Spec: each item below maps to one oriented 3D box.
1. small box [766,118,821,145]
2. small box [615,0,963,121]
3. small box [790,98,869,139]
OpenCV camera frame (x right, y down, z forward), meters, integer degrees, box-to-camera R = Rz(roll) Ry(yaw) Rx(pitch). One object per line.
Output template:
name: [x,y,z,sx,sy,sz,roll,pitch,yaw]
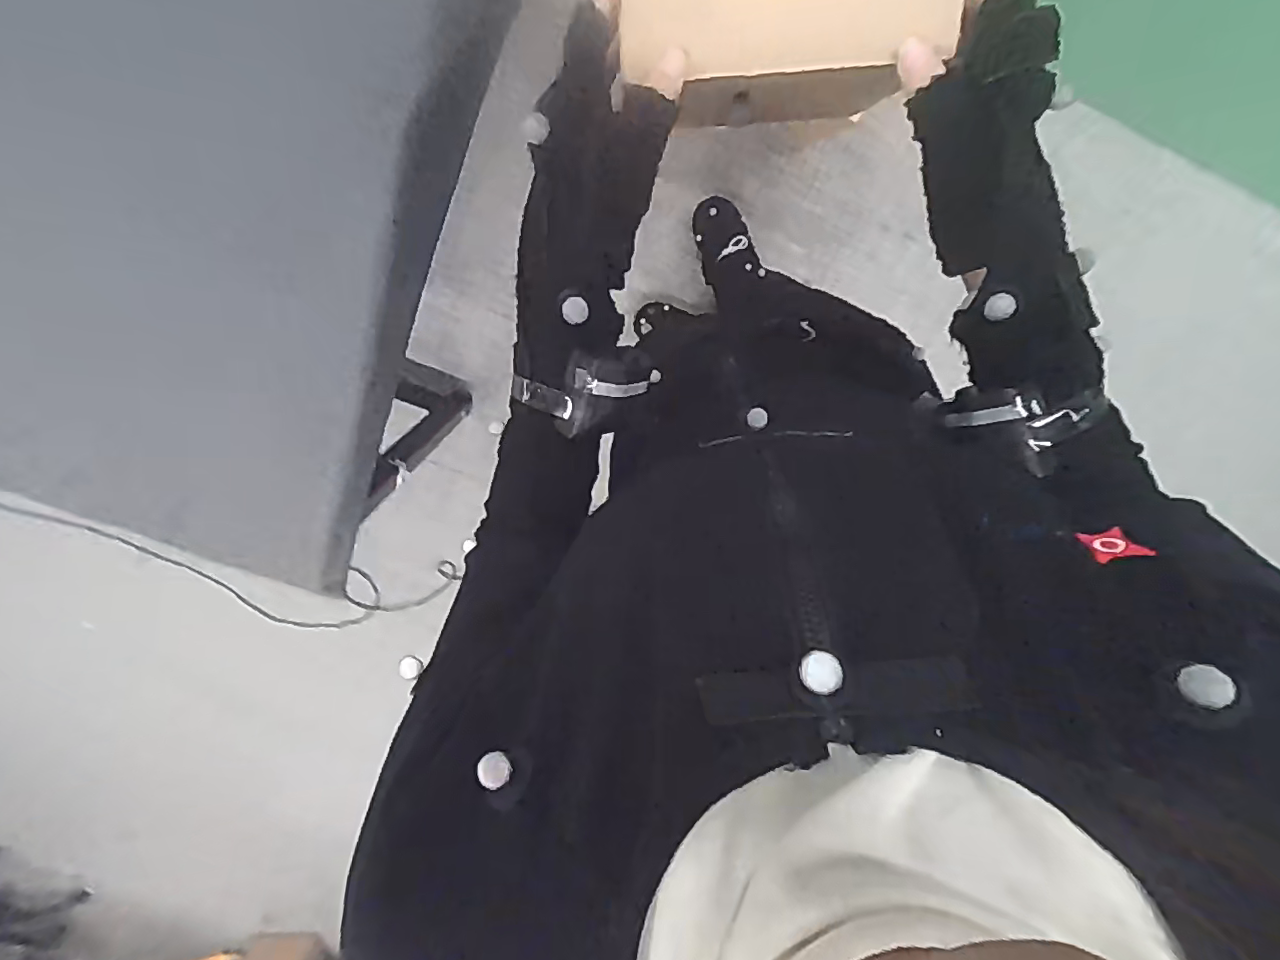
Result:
small box: [0.327,-0.783,1.039,0.168,0.176,0.179,29,114,-10]
small box: [0.079,-0.326,0.322,0.179,0.176,0.168,1,115,3]
small box: [0.315,-0.706,0.894,0.168,0.176,0.179,29,113,-10]
